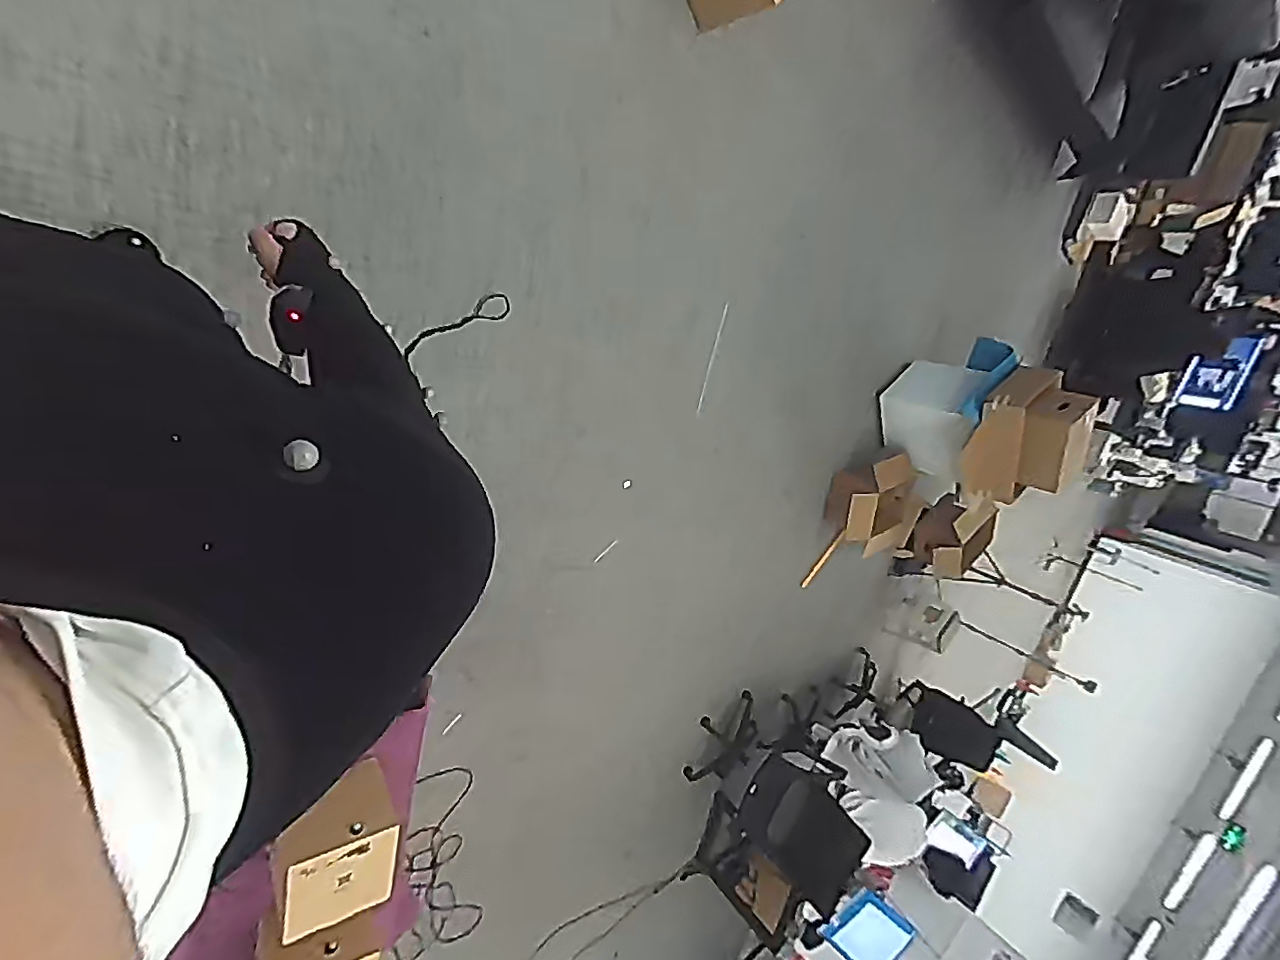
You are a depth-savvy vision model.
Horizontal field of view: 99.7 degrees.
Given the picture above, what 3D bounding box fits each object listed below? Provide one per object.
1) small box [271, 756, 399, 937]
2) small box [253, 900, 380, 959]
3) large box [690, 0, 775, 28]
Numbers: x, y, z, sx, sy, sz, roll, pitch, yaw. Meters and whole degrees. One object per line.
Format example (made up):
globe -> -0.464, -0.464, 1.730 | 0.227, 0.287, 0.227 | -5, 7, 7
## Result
small box -> -0.551, 0.641, 0.969 | 0.168, 0.176, 0.179 | 0, 111, -41
small box -> -0.624, 0.913, 1.039 | 0.179, 0.176, 0.168 | 2, 108, -41
large box -> 0.280, -1.629, 1.530 | 0.320, 0.320, 0.408 | -53, 133, -9
